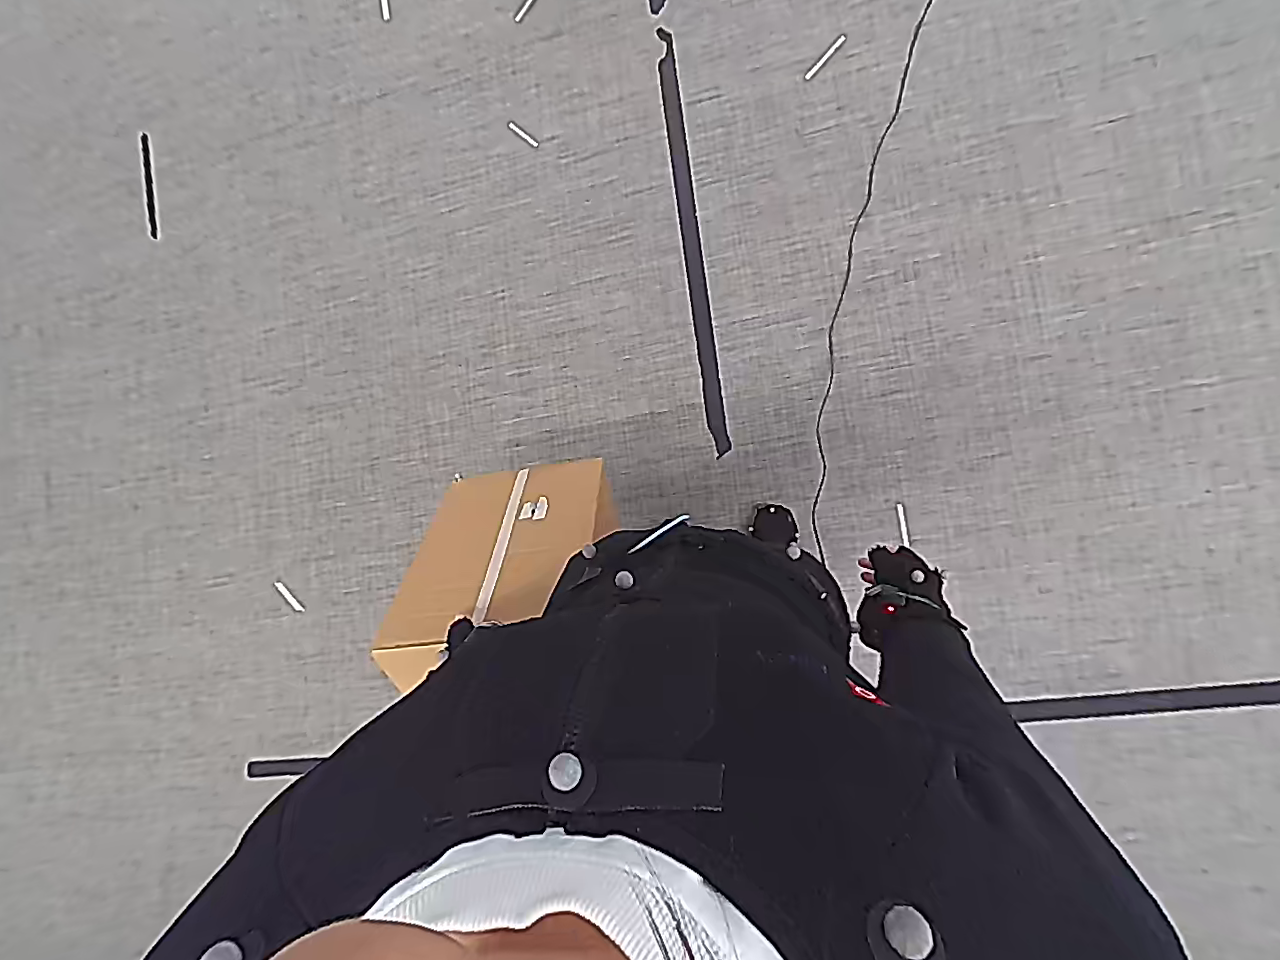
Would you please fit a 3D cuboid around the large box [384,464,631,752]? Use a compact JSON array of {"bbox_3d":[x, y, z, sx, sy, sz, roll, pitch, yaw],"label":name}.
[{"bbox_3d":[-0.196,0.225,1.004,0.320,0.408,0.320,-7,126,6],"label":"large box"}]
